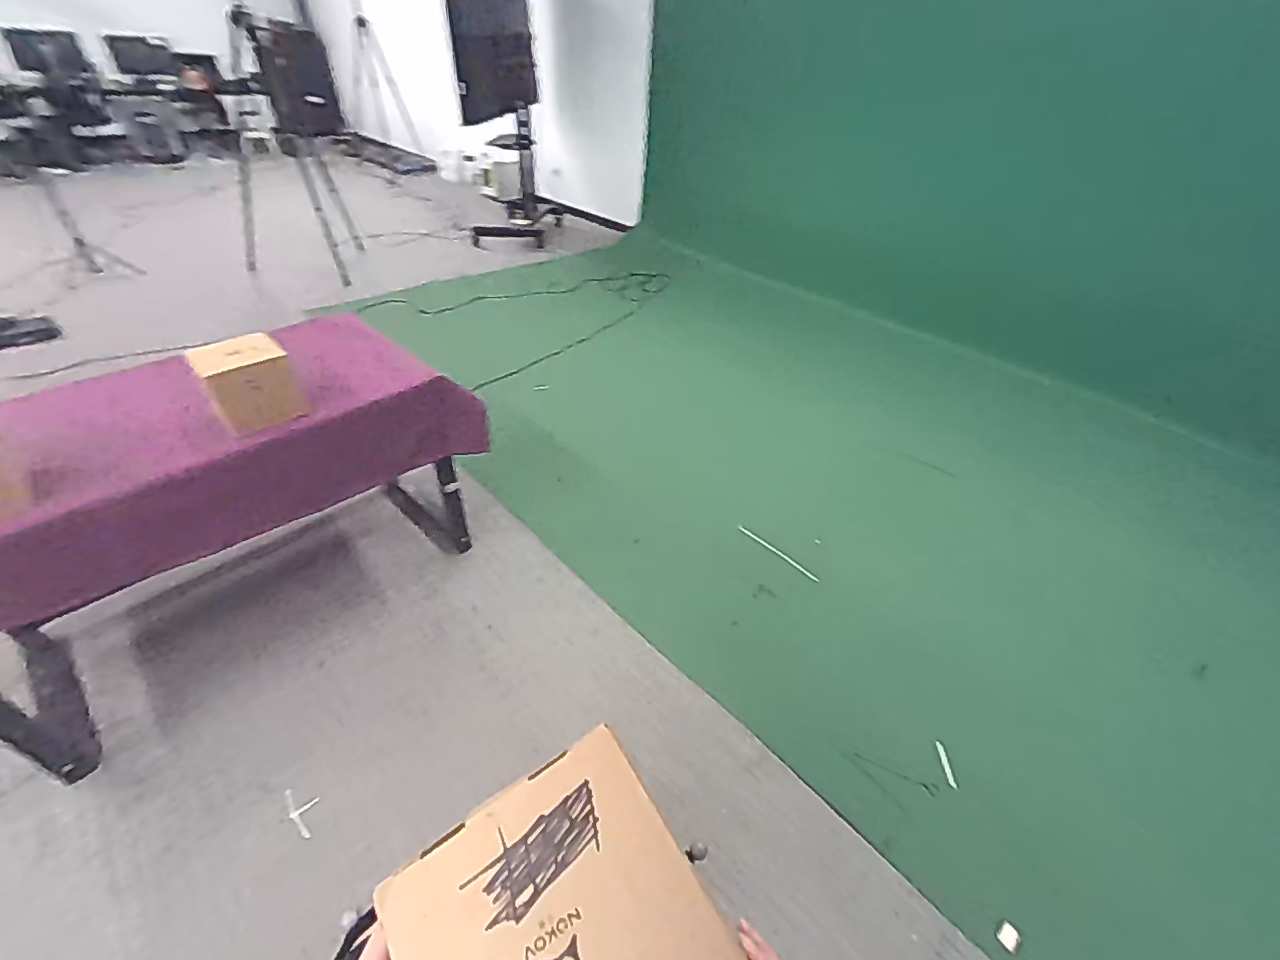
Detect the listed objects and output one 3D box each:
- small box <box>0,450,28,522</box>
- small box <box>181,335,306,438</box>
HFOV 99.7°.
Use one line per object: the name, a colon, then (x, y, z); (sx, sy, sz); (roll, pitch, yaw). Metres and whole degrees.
small box: (-1.328, -0.006, 1.023); (0.179, 0.176, 0.168); (34, 48, 31)
small box: (-0.961, -0.228, 1.321); (0.168, 0.176, 0.179); (34, 48, 31)
